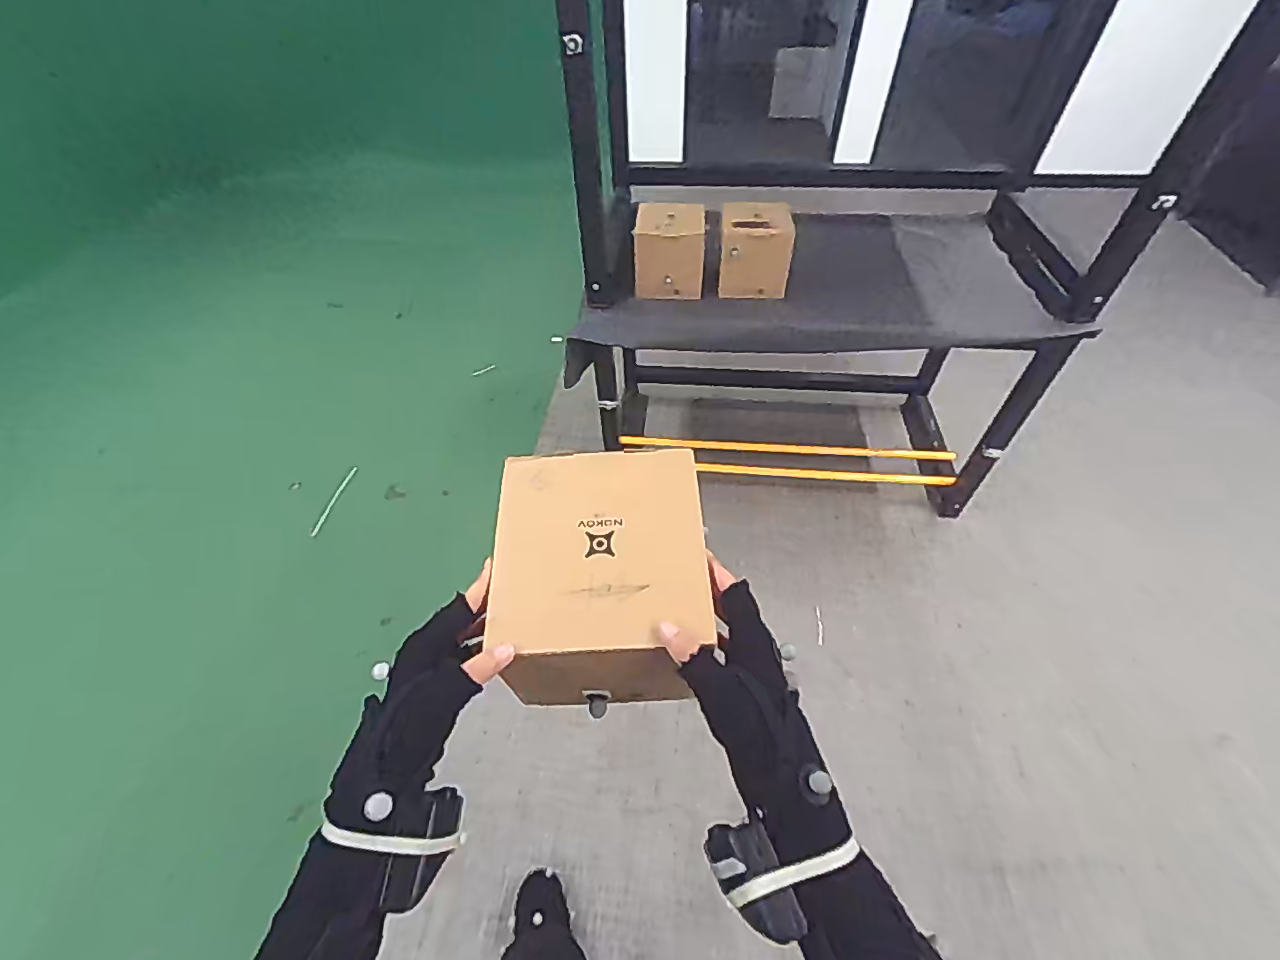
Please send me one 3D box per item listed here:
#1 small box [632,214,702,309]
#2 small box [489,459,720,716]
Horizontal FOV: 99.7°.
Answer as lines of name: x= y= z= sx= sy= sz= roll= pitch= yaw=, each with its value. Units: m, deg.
small box: x=0.069 y=-0.556 z=1.376 sx=0.168 sy=0.176 sz=0.179 roll=2 pitch=48 yaw=3
small box: x=-0.027 y=0.100 z=0.489 sx=0.168 sy=0.176 sz=0.179 roll=-2 pitch=55 yaw=-1
